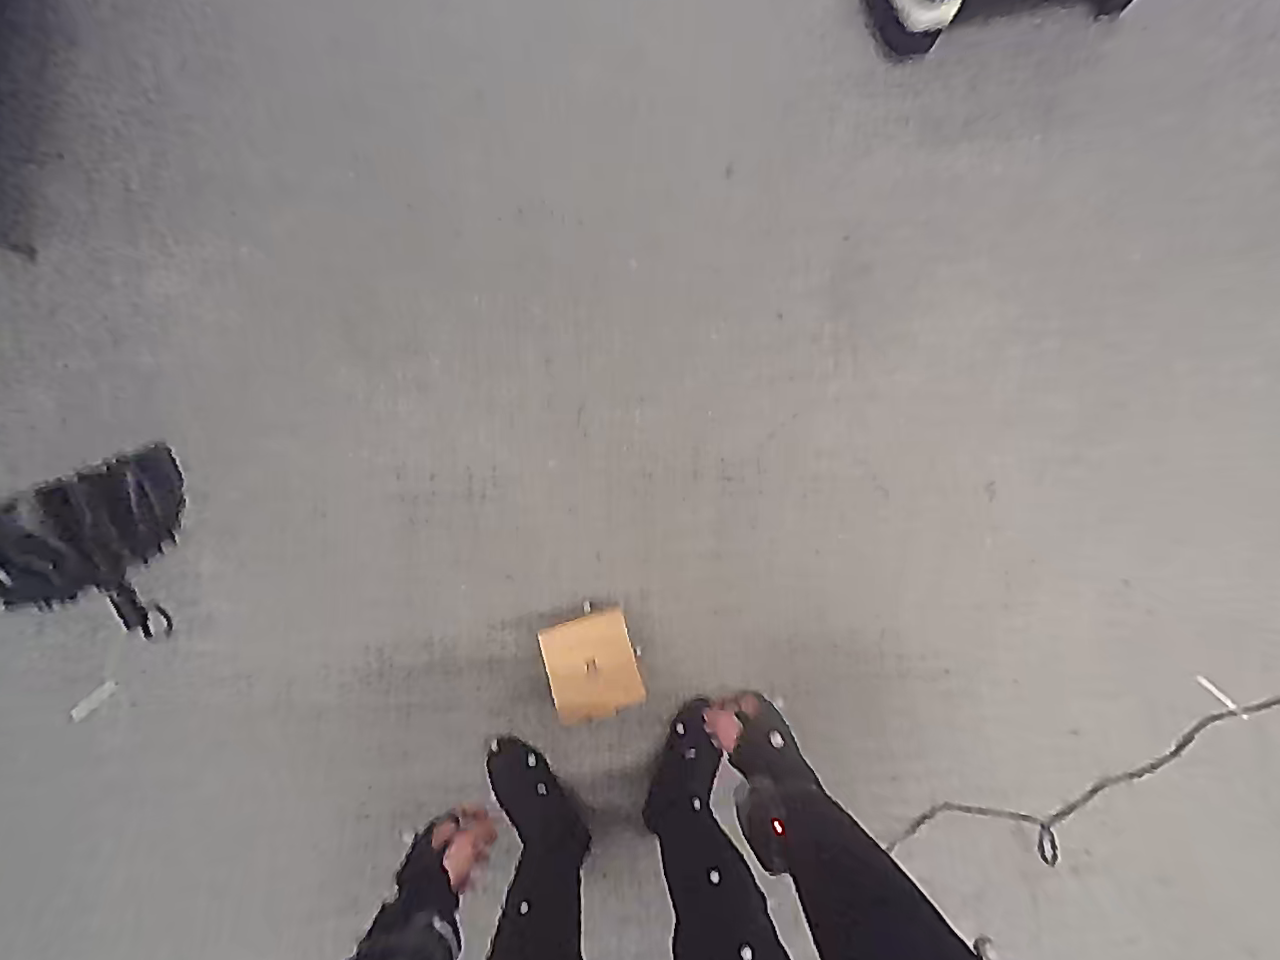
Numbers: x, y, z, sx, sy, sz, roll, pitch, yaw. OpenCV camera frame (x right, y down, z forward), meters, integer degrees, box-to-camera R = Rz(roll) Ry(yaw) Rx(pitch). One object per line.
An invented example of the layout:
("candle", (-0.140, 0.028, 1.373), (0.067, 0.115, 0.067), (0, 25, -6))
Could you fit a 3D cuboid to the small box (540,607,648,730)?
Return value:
("small box", (-0.086, 0.365, 1.078), (0.168, 0.176, 0.179), (-17, 82, -4))
